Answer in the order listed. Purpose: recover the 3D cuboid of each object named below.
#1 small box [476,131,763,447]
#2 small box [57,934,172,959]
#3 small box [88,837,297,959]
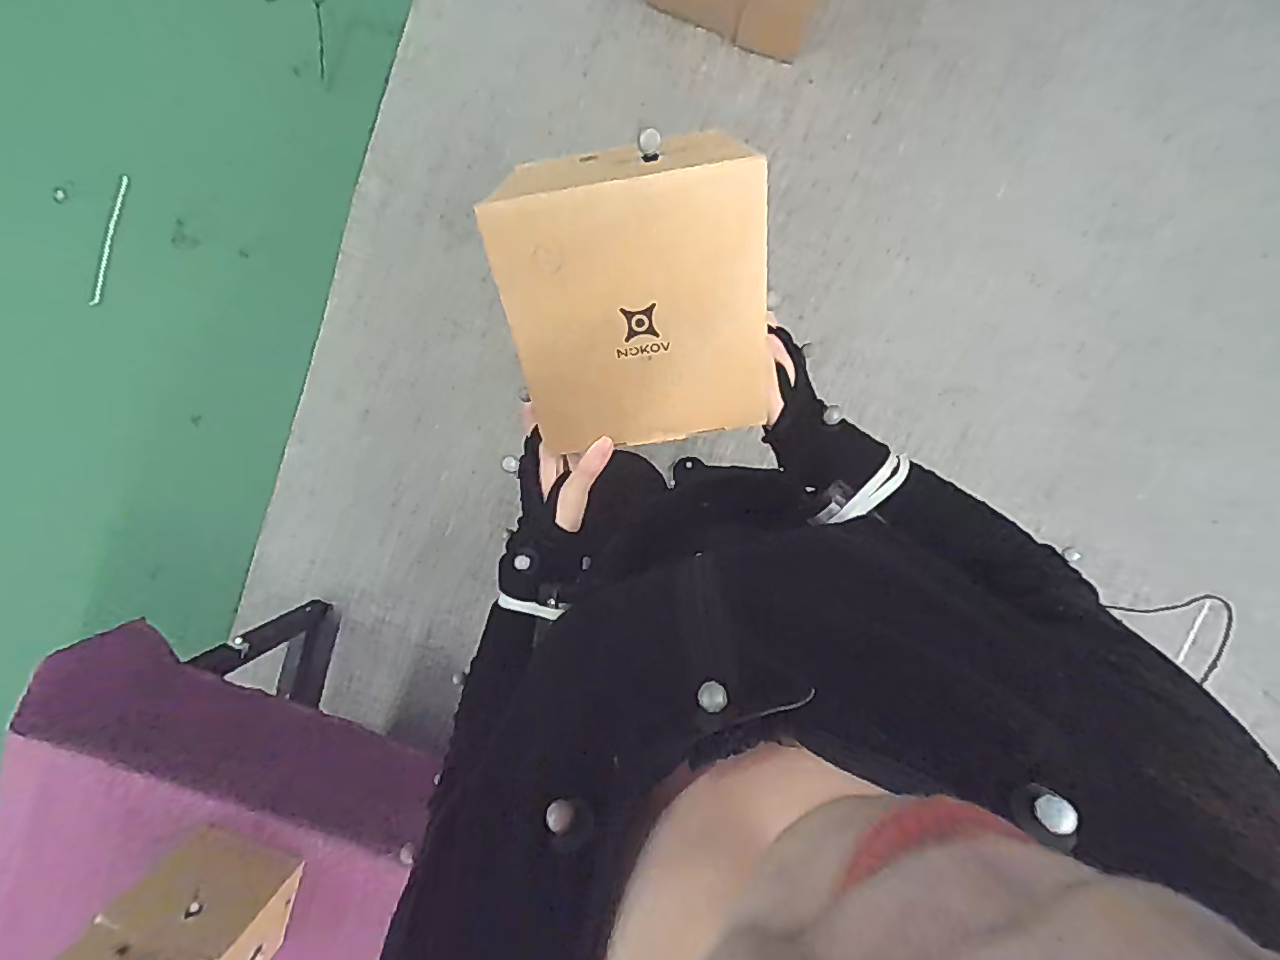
[{"bbox_3d":[-0.008,-0.151,0.411,0.168,0.176,0.179,-8,128,3],"label":"small box"},{"bbox_3d":[-0.654,0.685,0.614,0.168,0.176,0.179,17,95,2],"label":"small box"},{"bbox_3d":[-0.640,0.662,0.777,0.179,0.176,0.168,19,96,2],"label":"small box"}]
